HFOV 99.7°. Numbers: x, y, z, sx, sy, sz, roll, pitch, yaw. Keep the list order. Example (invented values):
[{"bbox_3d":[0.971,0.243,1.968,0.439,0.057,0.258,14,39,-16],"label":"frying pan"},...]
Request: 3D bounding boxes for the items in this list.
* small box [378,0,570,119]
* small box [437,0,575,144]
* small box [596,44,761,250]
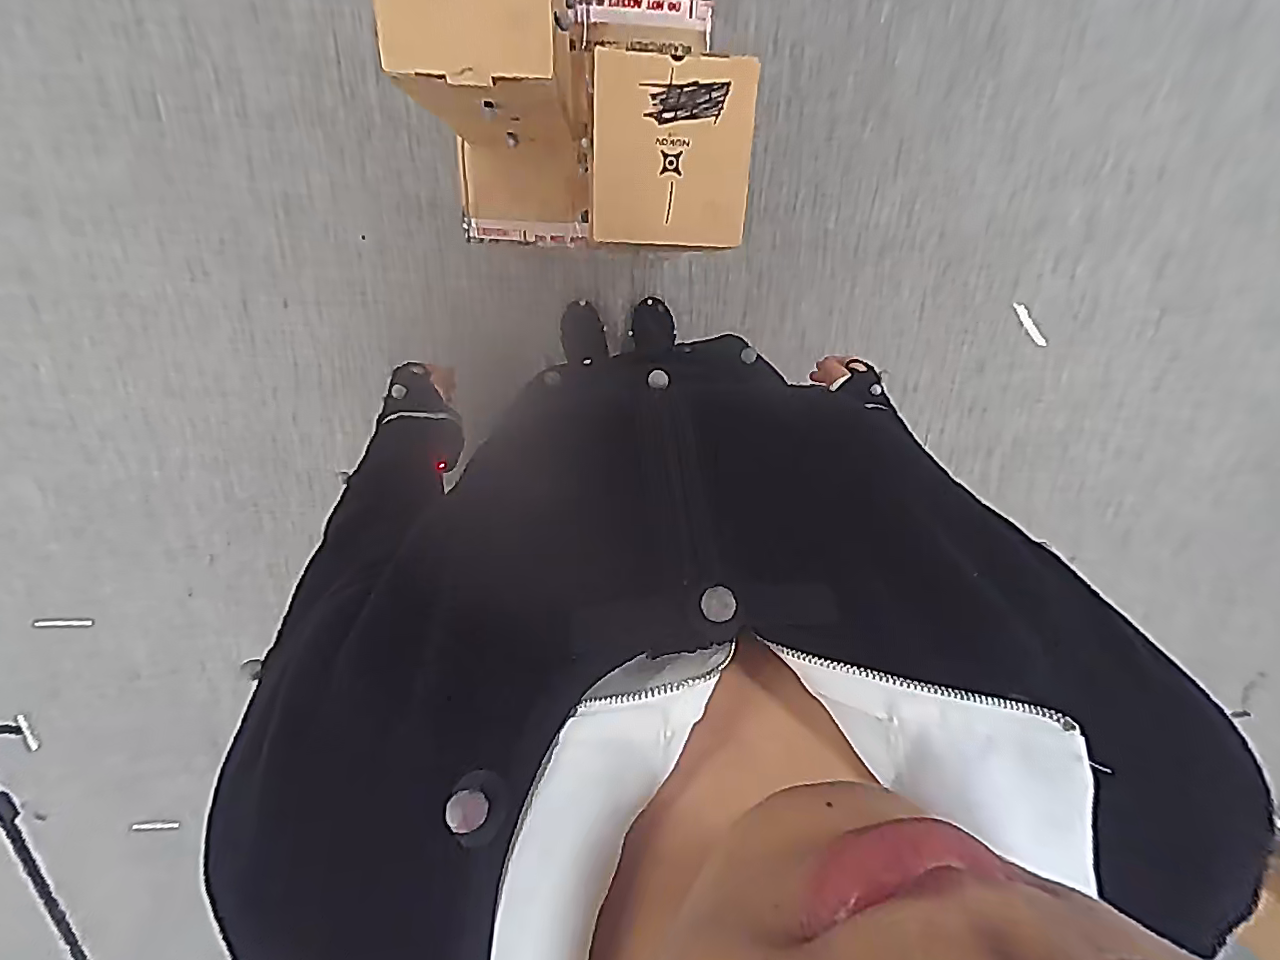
[{"bbox_3d":[-0.164,-0.500,0.570,0.168,0.176,0.179,1,112,-2],"label":"small box"},{"bbox_3d":[-0.176,-0.569,0.720,0.168,0.176,0.179,-1,112,-2],"label":"small box"},{"bbox_3d":[0.032,-0.370,0.635,0.168,0.176,0.179,1,112,-4],"label":"small box"}]
